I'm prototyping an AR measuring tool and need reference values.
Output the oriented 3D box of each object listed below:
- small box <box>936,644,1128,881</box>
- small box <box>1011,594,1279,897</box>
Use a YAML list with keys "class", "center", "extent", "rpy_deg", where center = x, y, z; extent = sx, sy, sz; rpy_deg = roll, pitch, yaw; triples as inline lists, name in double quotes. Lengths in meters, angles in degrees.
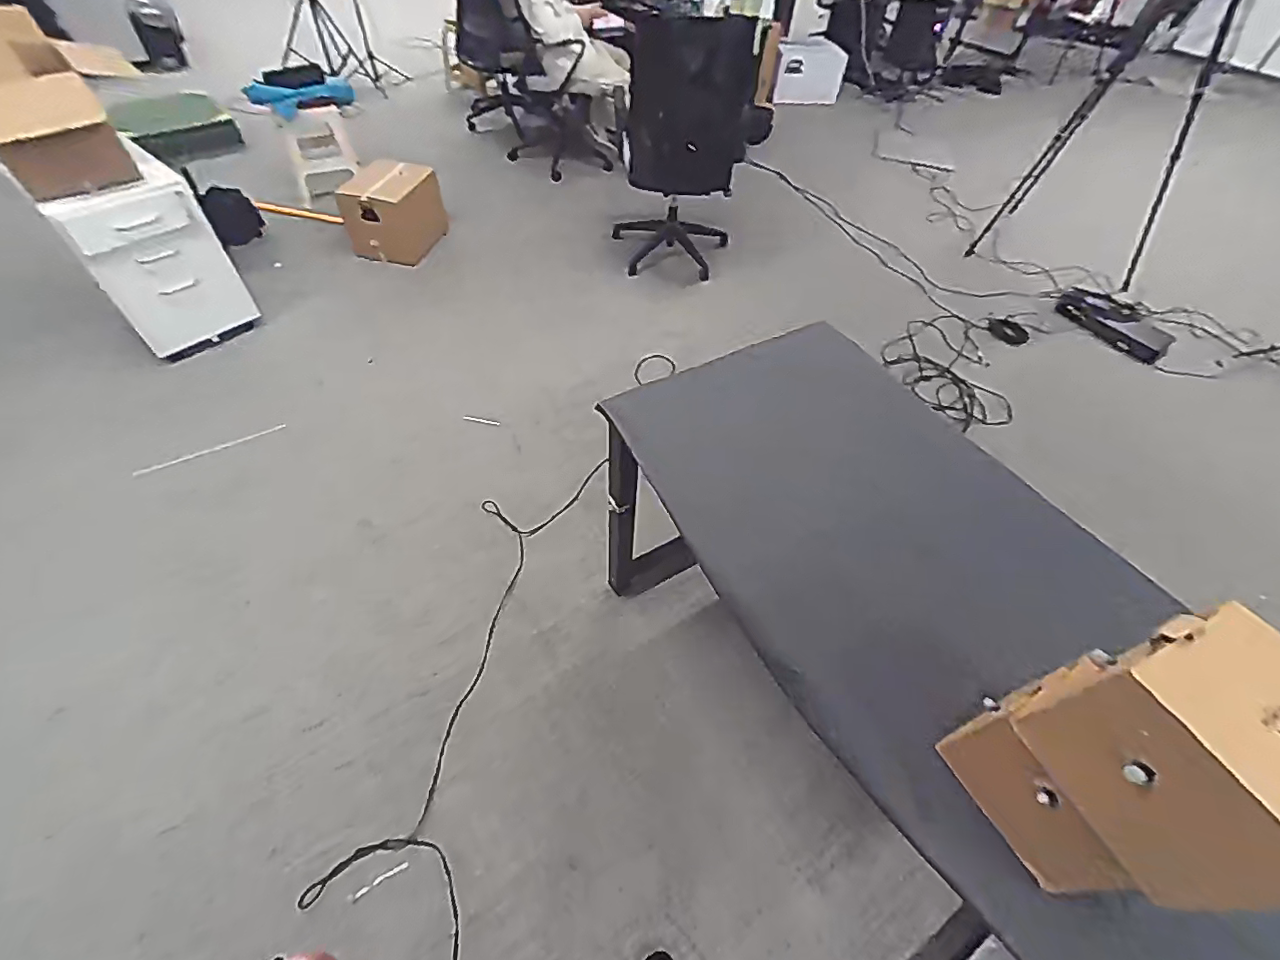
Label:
- class: "small box"
  center: [0.493, 0.329, 0.628]
  extent: [0.168, 0.176, 0.179]
  rpy_deg: [-20, 56, -19]
- class: "small box"
  center: [0.496, 0.239, 0.490]
  extent: [0.168, 0.176, 0.179]
  rpy_deg: [-17, 54, -18]
